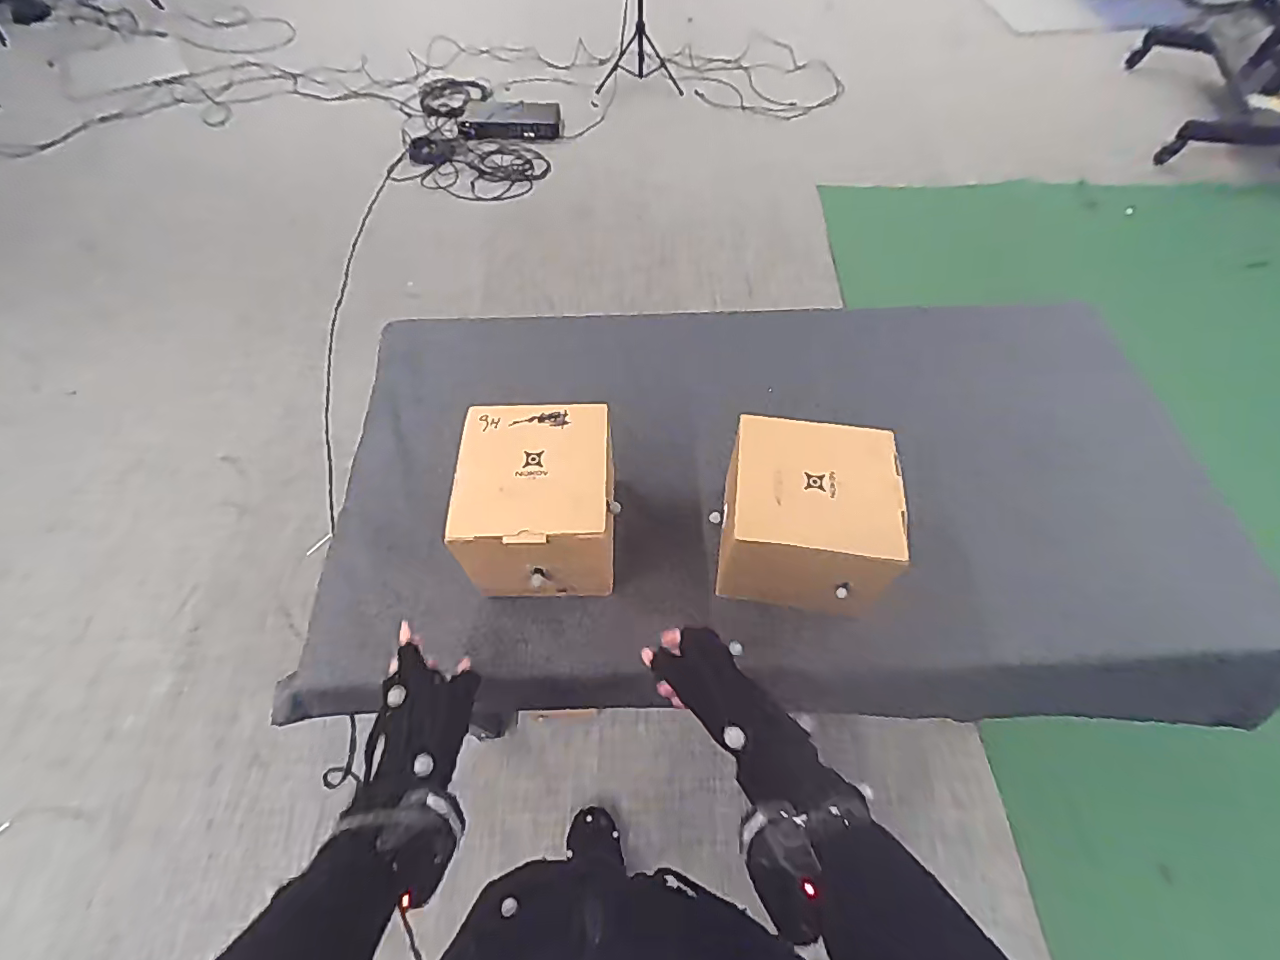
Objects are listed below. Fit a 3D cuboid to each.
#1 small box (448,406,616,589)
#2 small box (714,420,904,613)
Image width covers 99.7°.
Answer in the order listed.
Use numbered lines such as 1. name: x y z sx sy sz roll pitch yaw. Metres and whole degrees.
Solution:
1. small box: -0.116 0.028 0.665 0.168 0.176 0.179 0 59 -1
2. small box: 0.192 0.051 0.654 0.179 0.176 0.168 7 58 5
